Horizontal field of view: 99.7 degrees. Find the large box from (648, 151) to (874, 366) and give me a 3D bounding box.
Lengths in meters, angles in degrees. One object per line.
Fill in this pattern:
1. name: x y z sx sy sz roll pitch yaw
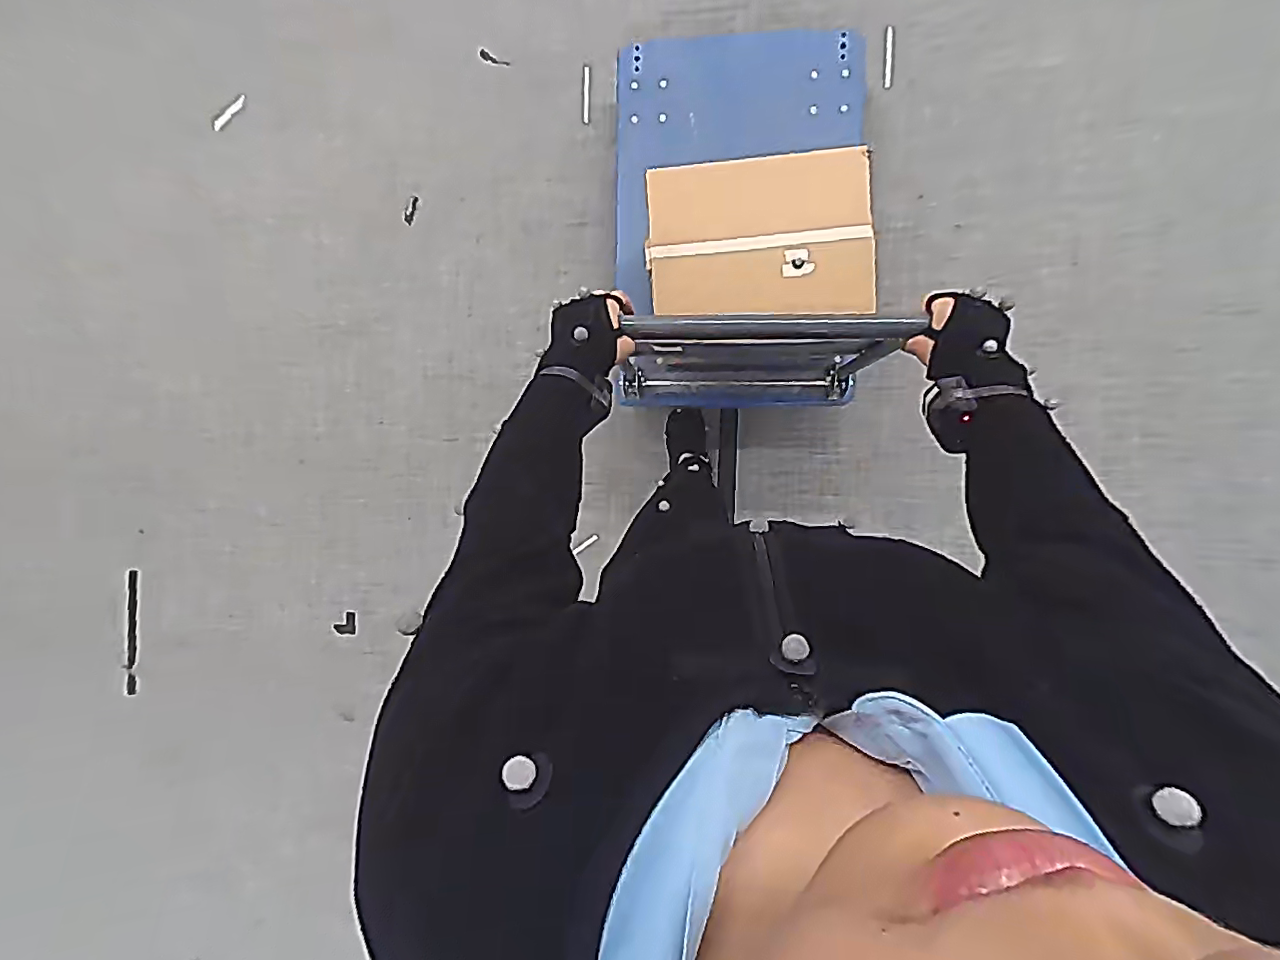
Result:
1. large box: 0.234 -0.440 1.154 0.408 0.320 0.320 -3 92 5
